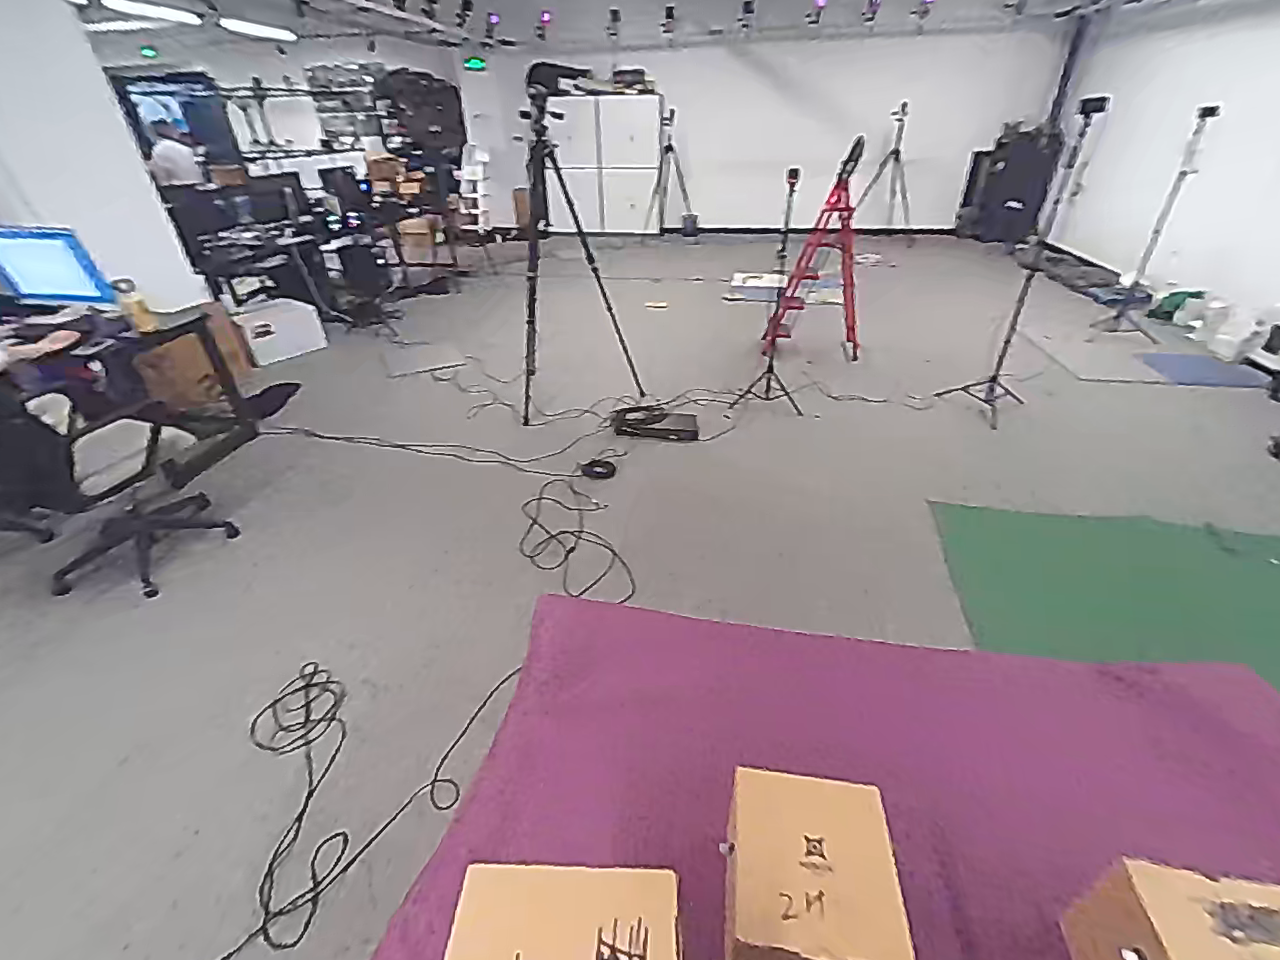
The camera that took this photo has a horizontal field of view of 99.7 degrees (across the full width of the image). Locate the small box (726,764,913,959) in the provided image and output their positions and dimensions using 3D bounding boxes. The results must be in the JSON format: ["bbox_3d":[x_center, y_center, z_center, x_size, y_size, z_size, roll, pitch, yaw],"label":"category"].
[{"bbox_3d":[0.187,0.465,0.619,0.168,0.176,0.179,3,32,8],"label":"small box"}]

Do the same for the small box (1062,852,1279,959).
[{"bbox_3d":[0.568,0.514,0.533,0.168,0.176,0.179,5,34,9],"label":"small box"}]
